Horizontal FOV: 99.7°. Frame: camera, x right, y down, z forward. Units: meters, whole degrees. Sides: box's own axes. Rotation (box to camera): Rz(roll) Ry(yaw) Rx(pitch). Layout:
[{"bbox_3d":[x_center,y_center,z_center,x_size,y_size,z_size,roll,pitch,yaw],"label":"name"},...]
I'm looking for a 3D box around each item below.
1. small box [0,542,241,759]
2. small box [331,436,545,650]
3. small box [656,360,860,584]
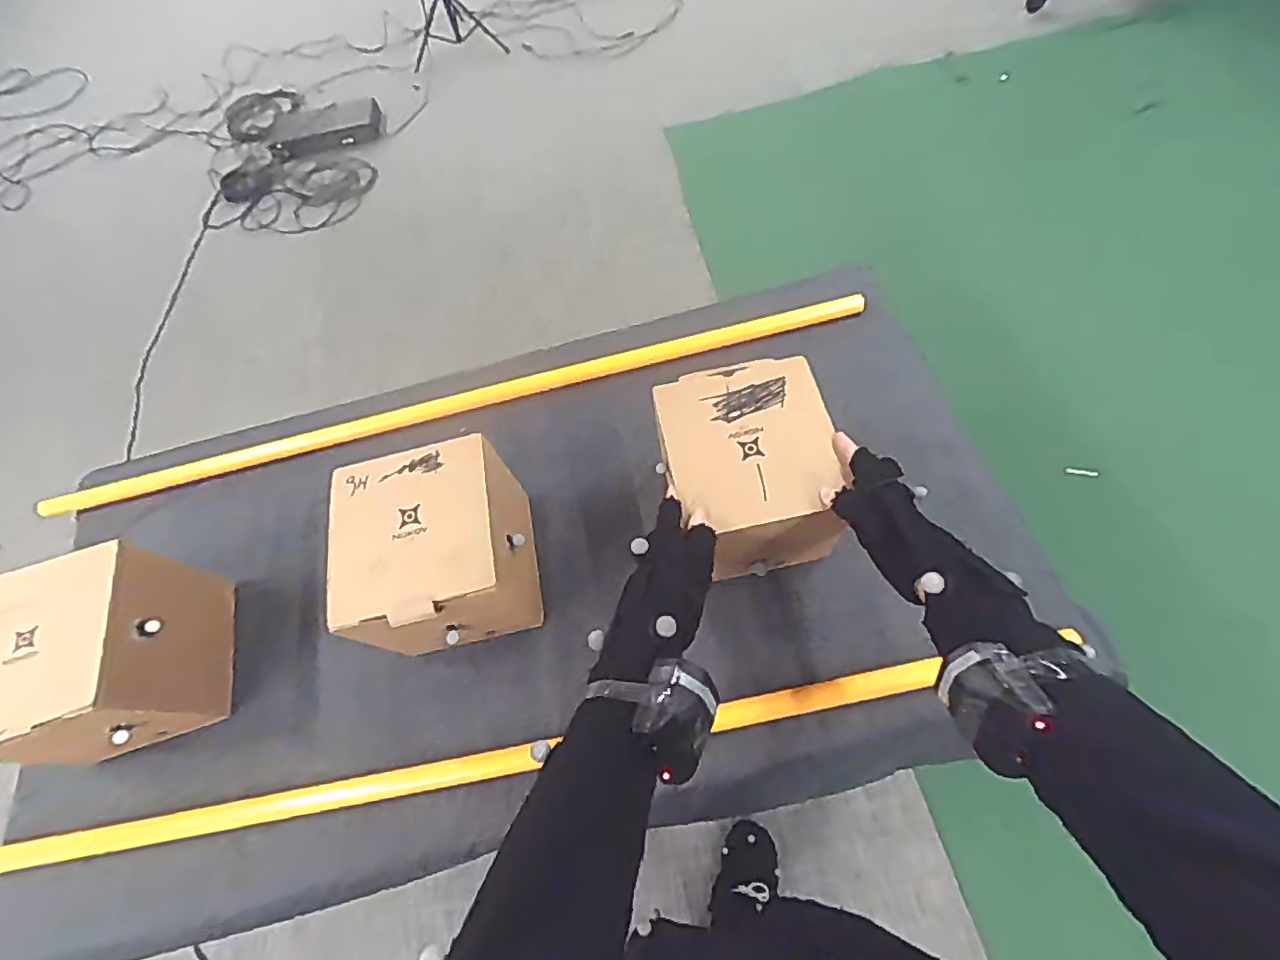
[{"bbox_3d":[-0.587,0.197,0.603,0.168,0.176,0.179,-18,62,-3],"label":"small box"},{"bbox_3d":[-0.219,0.083,0.612,0.168,0.176,0.179,-17,63,1],"label":"small box"},{"bbox_3d":[0.117,-0.001,0.605,0.168,0.176,0.179,-12,64,2],"label":"small box"}]
